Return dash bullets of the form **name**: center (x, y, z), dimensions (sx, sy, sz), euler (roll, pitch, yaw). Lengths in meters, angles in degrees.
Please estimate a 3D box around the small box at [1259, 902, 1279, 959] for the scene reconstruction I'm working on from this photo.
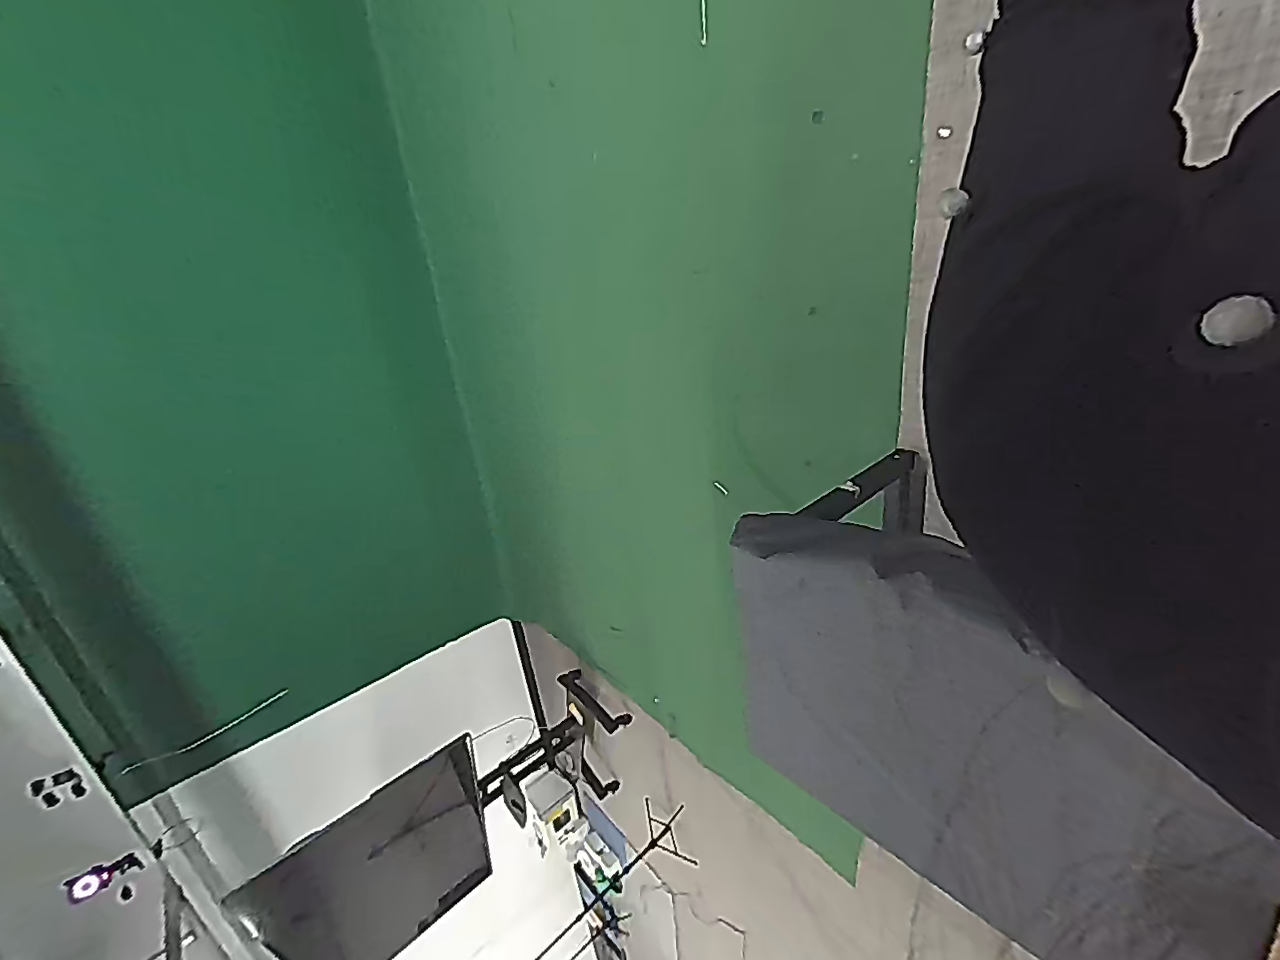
- **small box**: center (0.761, 0.596, 0.555), dimensions (0.168, 0.176, 0.179), euler (13, 121, 49)
